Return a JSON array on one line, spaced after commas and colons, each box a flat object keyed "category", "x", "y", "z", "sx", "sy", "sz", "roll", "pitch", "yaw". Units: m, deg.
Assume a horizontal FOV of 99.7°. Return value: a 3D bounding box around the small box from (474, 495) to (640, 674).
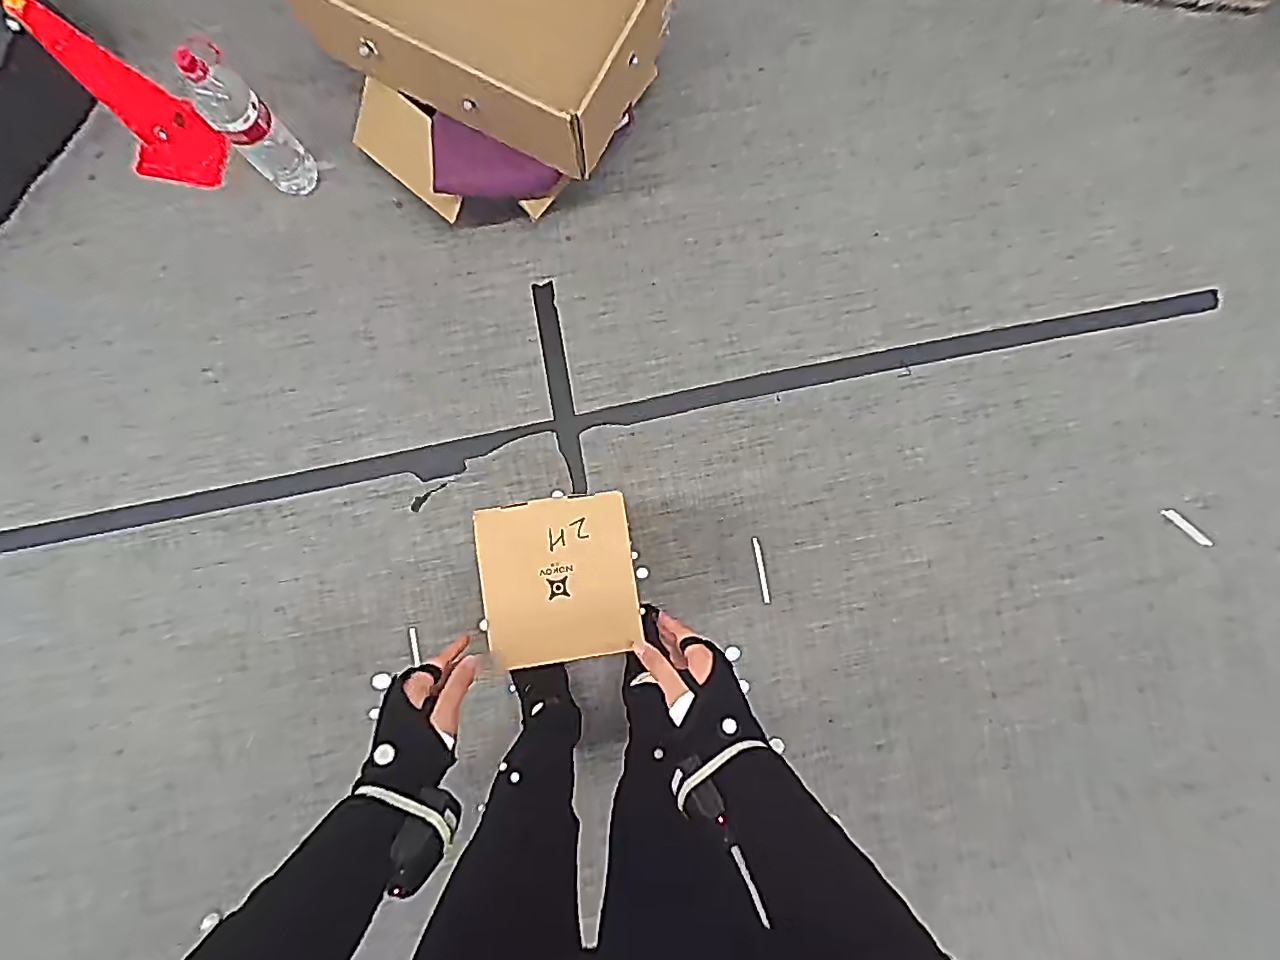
[{"category": "small box", "x": -0.092, "y": 0.118, "z": 0.666, "sx": 0.168, "sy": 0.176, "sz": 0.179, "roll": -8, "pitch": 85, "yaw": -3}]
